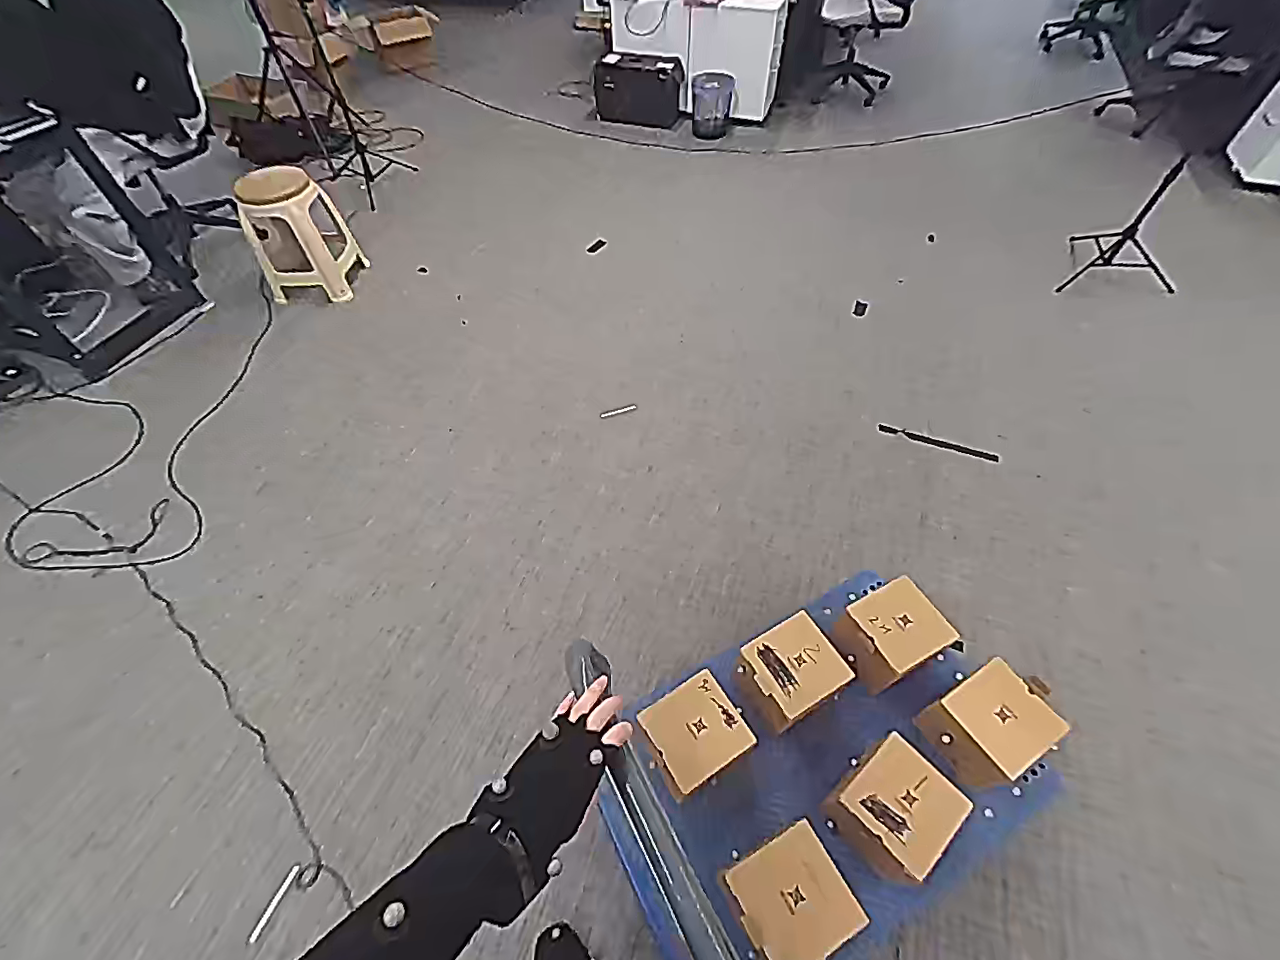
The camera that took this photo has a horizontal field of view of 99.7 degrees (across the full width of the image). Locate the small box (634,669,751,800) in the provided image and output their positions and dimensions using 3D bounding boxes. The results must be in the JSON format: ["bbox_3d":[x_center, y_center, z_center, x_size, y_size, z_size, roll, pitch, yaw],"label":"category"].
[{"bbox_3d":[0.103,0.527,1.111,0.179,0.176,0.168,-27,58,-17],"label":"small box"}]

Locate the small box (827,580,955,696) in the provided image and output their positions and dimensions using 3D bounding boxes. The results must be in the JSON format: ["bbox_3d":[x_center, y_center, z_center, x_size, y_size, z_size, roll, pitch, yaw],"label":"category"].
[{"bbox_3d":[0.558,0.361,1.229,0.179,0.176,0.168,-22,56,-14],"label":"small box"}]

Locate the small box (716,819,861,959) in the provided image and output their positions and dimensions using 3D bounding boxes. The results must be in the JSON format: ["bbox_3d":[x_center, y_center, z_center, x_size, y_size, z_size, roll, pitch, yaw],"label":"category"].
[{"bbox_3d":[0.248,0.737,0.957,0.179,0.176,0.168,-23,57,-16],"label":"small box"}]

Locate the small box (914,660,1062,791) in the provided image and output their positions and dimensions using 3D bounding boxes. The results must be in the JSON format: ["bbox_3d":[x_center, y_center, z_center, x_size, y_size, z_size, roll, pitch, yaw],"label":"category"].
[{"bbox_3d":[0.700,0.512,1.117,0.179,0.176,0.168,-26,57,-17],"label":"small box"}]

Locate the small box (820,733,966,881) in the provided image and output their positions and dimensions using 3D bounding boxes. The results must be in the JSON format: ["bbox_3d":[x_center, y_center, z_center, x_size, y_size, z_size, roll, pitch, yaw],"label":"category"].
[{"bbox_3d":[0.468,0.628,1.033,0.179,0.176,0.168,-34,60,-23],"label":"small box"}]
